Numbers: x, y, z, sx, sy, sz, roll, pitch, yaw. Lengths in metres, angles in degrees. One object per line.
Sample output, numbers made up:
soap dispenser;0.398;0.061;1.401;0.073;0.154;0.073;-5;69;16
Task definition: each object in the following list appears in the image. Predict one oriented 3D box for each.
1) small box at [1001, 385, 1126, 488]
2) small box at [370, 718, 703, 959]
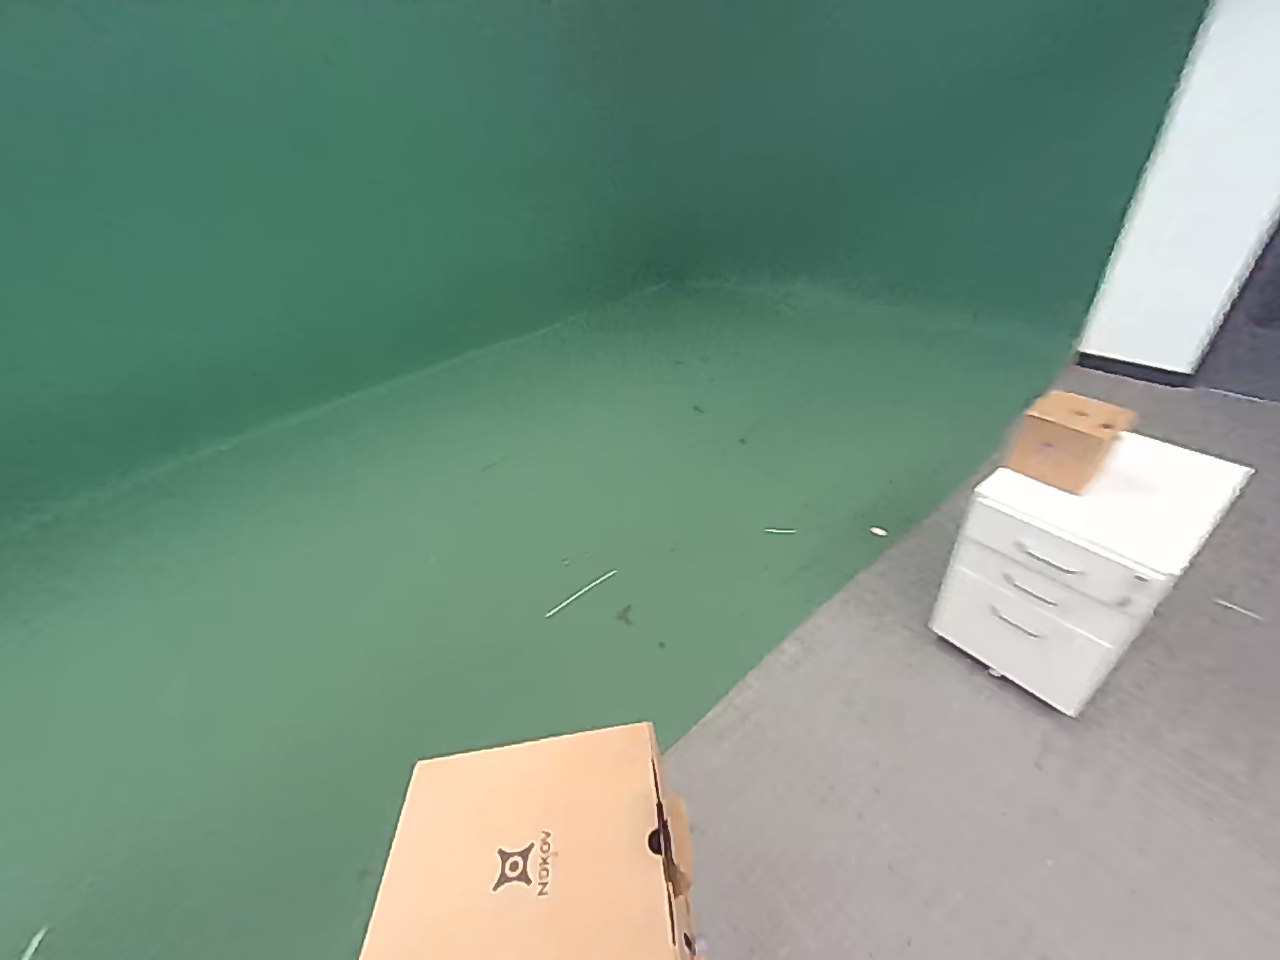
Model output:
small box;1.039;-0.108;1.342;0.168;0.176;0.179;-30;43;-26
small box;-0.052;0.296;0.365;0.179;0.176;0.168;-9;30;1
